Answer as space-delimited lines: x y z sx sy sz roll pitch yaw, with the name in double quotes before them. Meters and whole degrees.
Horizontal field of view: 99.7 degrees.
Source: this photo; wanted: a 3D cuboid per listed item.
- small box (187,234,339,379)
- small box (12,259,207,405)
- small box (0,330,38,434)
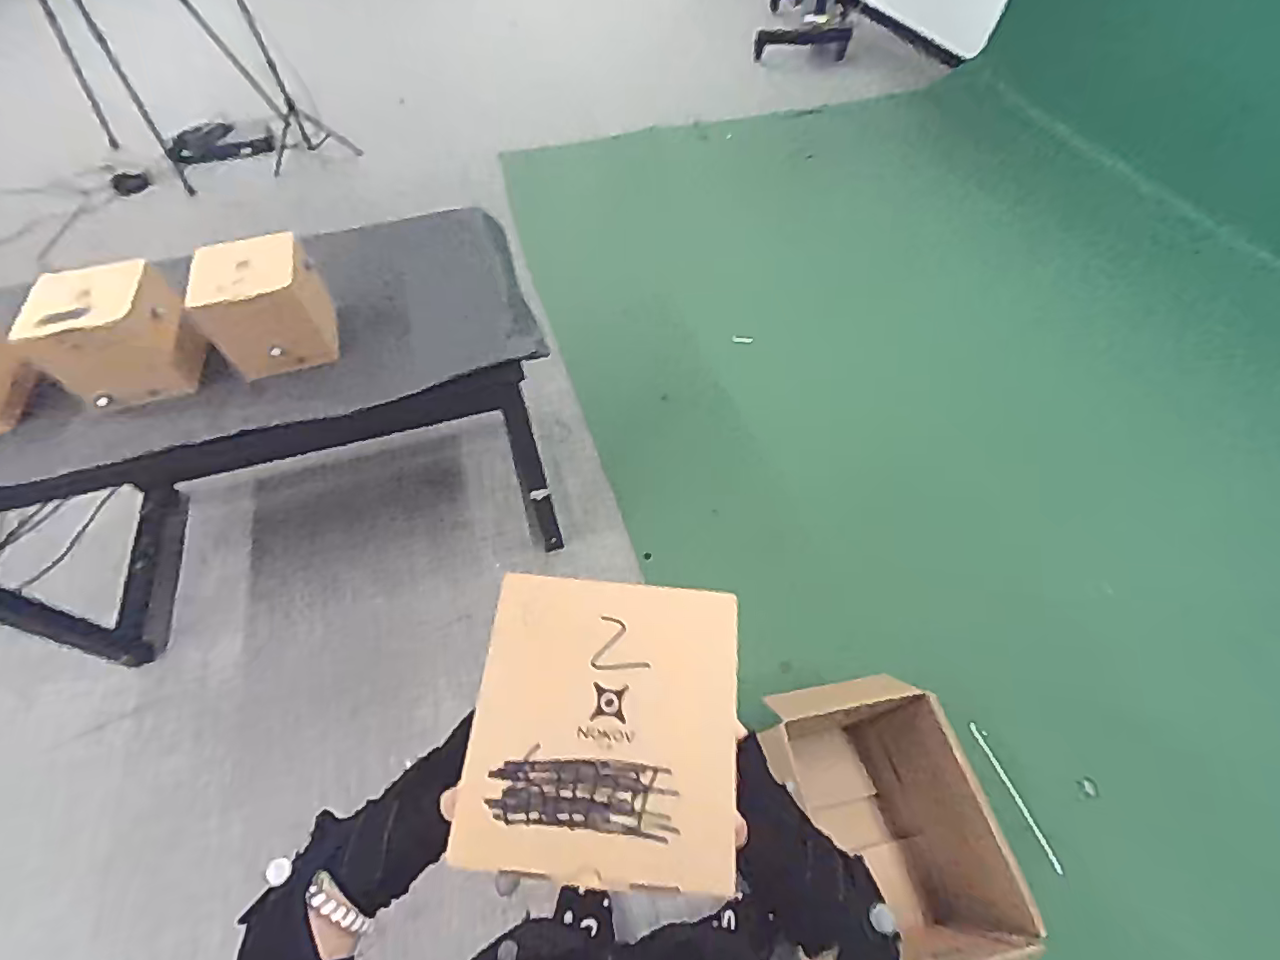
"small box" -0.675 -0.316 0.991 0.168 0.176 0.179 -16 57 -10
"small box" -0.904 -0.251 0.947 0.168 0.176 0.179 -14 56 -10
"small box" -1.180 -0.180 0.898 0.168 0.176 0.179 -15 56 -11
